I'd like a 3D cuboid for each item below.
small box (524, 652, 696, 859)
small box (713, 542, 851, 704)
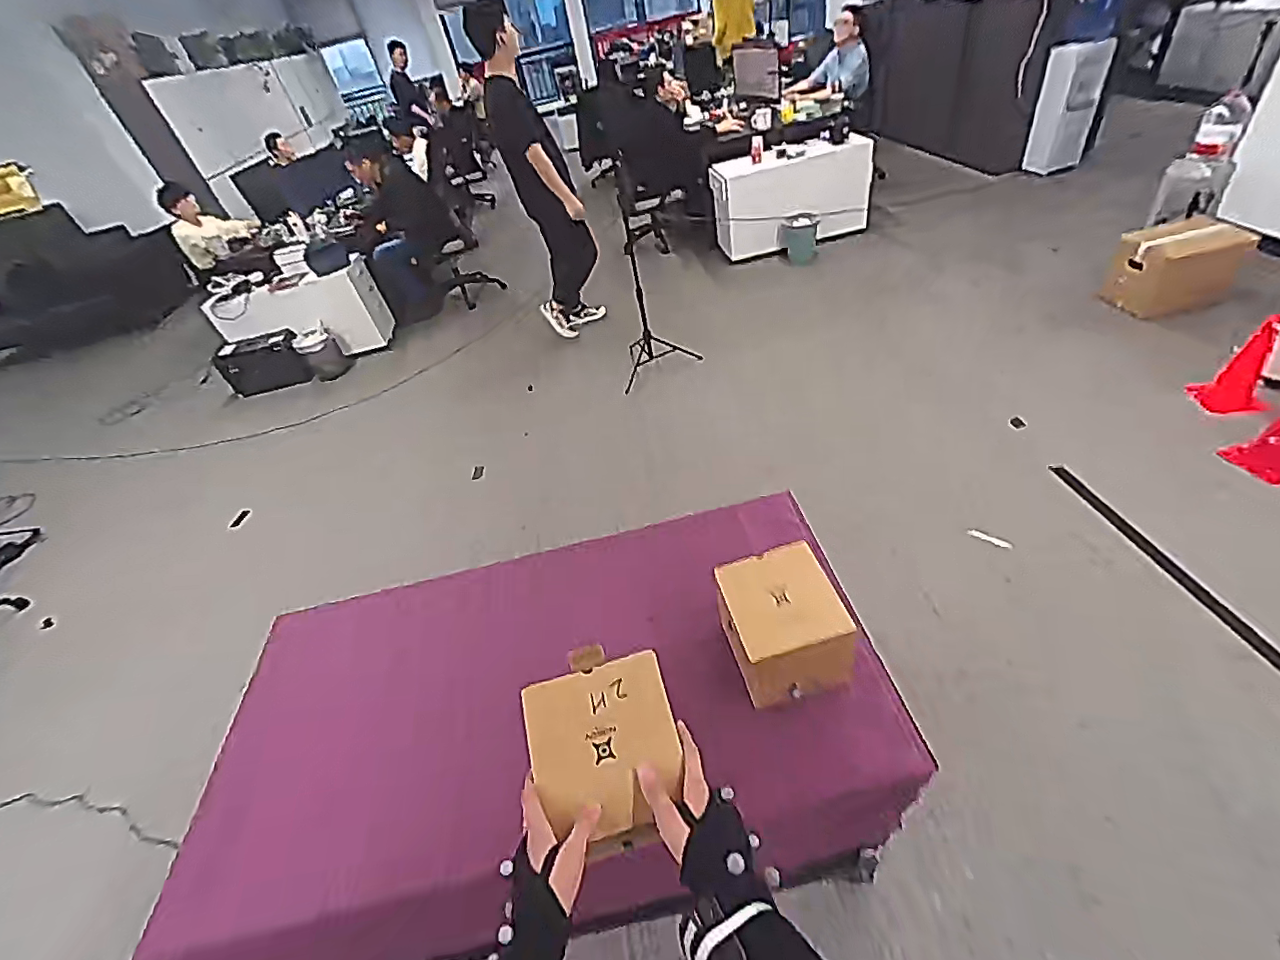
[{"bbox_3d":[-0.032,0.341,0.662,0.168,0.176,0.179,-15,52,-6],"label":"small box"},{"bbox_3d":[0.231,0.238,0.902,0.168,0.176,0.179,-17,41,-1],"label":"small box"}]
